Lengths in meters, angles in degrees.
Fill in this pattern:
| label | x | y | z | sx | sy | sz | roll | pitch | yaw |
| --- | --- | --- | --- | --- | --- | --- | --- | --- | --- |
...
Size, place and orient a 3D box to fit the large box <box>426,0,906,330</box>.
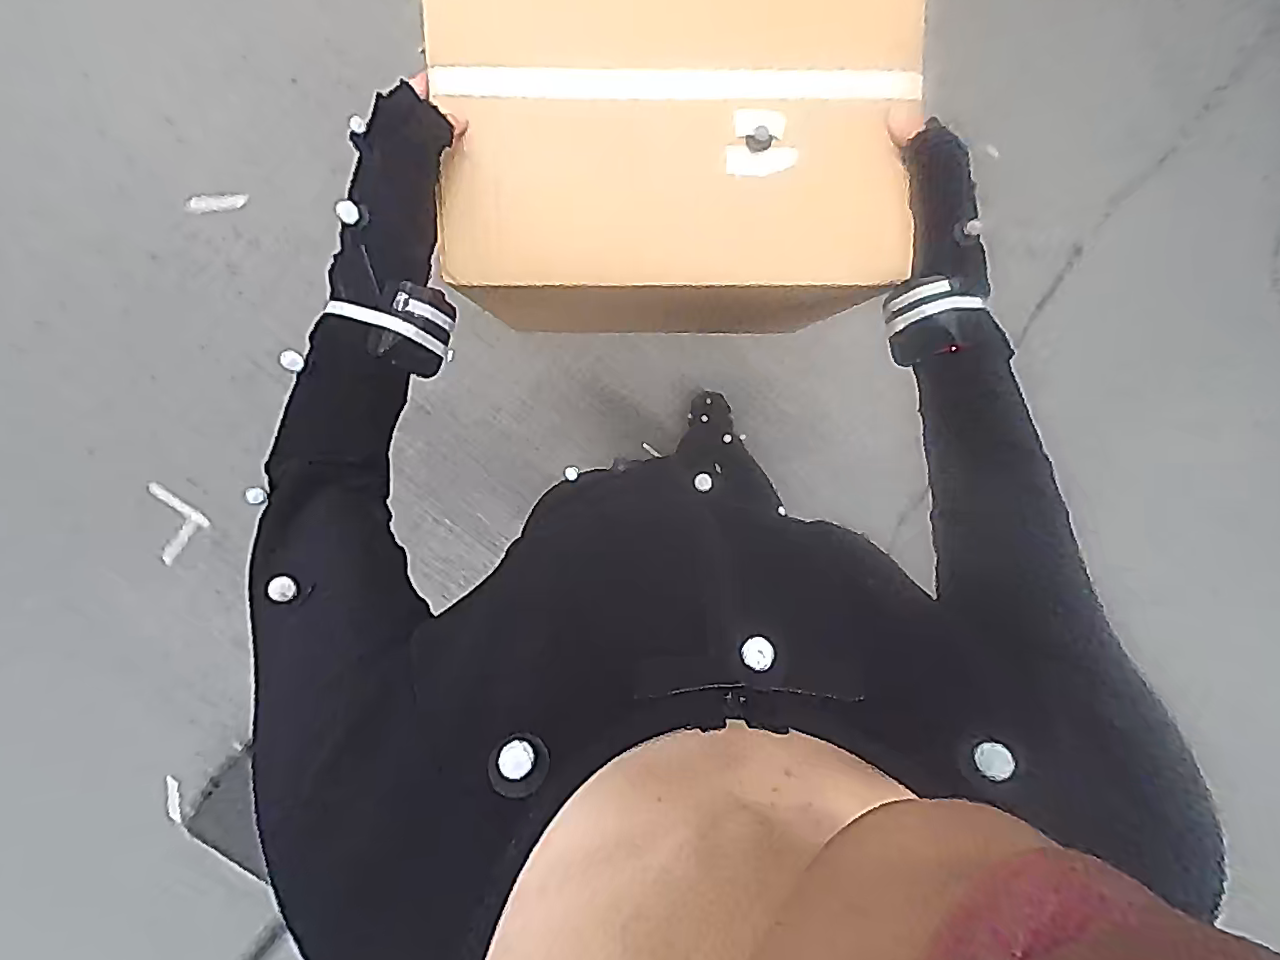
| label | x | y | z | sx | sy | sz | roll | pitch | yaw |
| --- | --- | --- | --- | --- | --- | --- | --- | --- | --- |
| large box | 0.018 | -0.352 | 0.602 | 0.408 | 0.320 | 0.320 | -2 | 98 | -2 |
